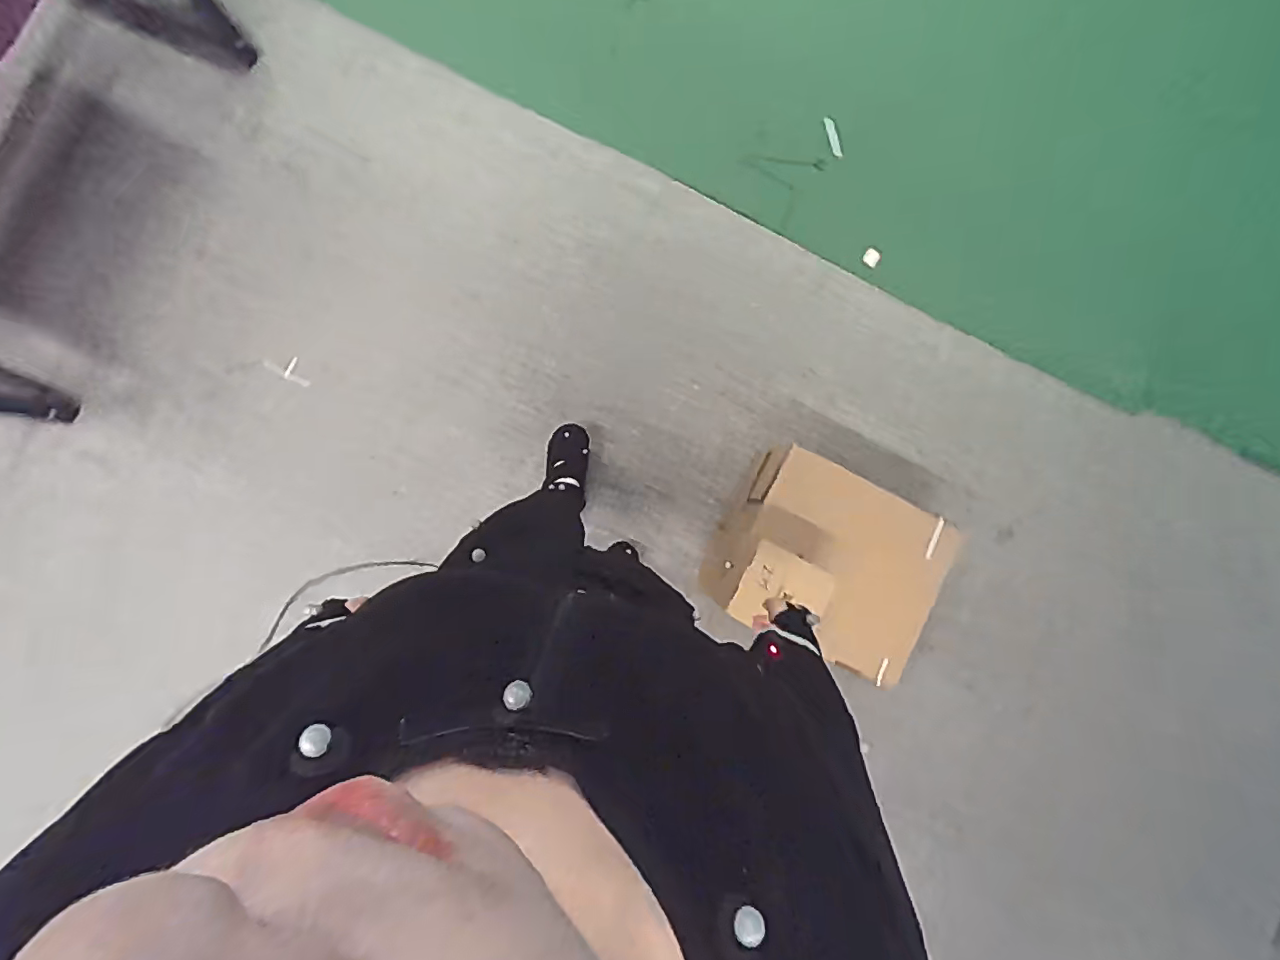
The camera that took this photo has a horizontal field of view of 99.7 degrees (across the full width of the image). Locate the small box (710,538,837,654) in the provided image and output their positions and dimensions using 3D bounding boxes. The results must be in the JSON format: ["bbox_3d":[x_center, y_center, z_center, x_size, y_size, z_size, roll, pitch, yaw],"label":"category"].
[{"bbox_3d":[0.270,0.230,1.129,0.179,0.176,0.168,29,86,-1],"label":"small box"}]
